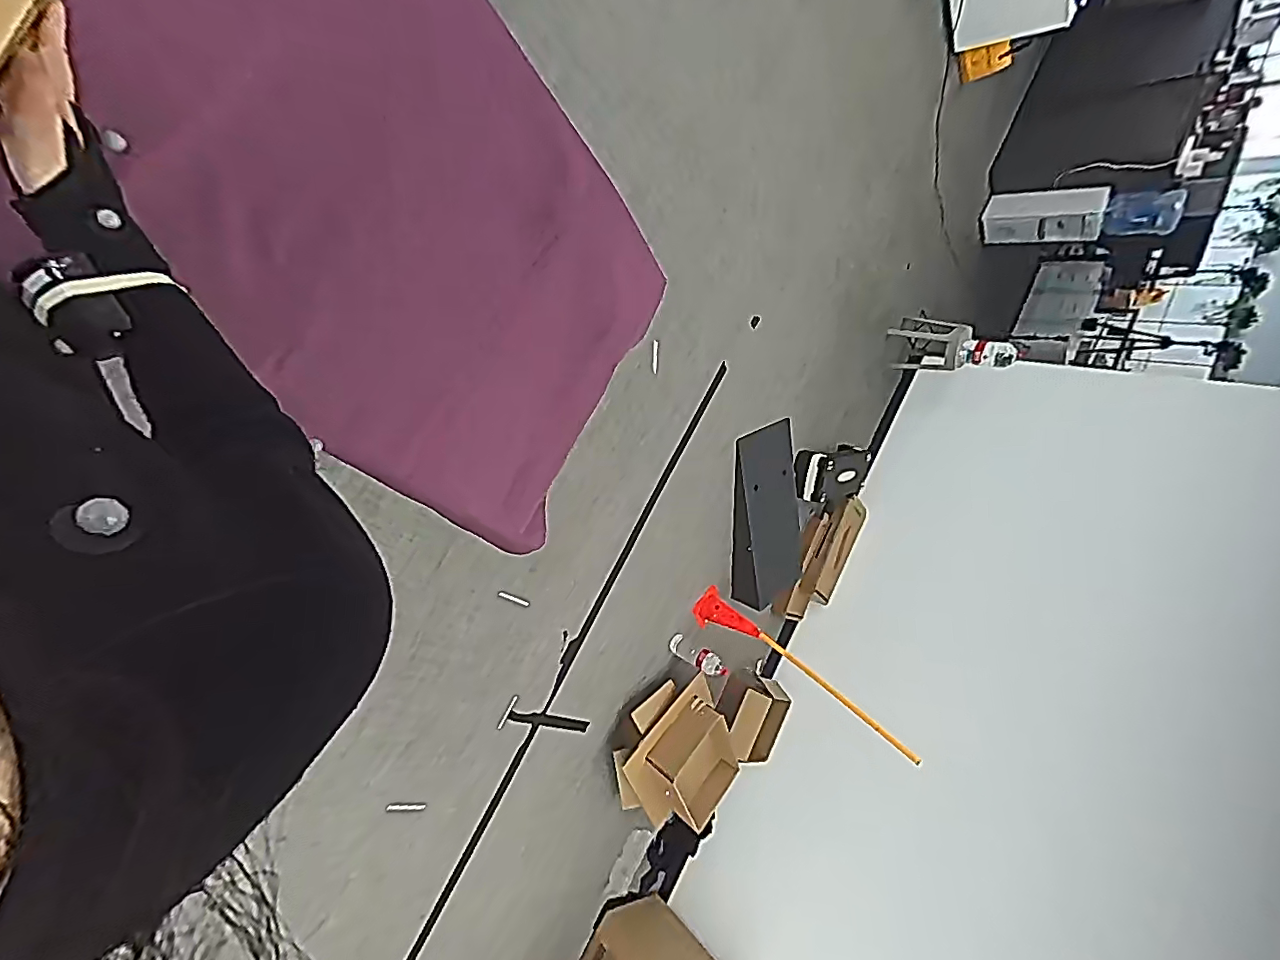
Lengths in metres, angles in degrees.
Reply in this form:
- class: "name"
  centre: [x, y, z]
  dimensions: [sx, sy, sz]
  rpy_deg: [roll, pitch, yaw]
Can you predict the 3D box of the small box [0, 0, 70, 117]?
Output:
- class: "small box"
  centre: [-0.473, -0.331, 0.318]
  dimensions: [0.168, 0.176, 0.179]
  rpy_deg: [30, 78, -52]
